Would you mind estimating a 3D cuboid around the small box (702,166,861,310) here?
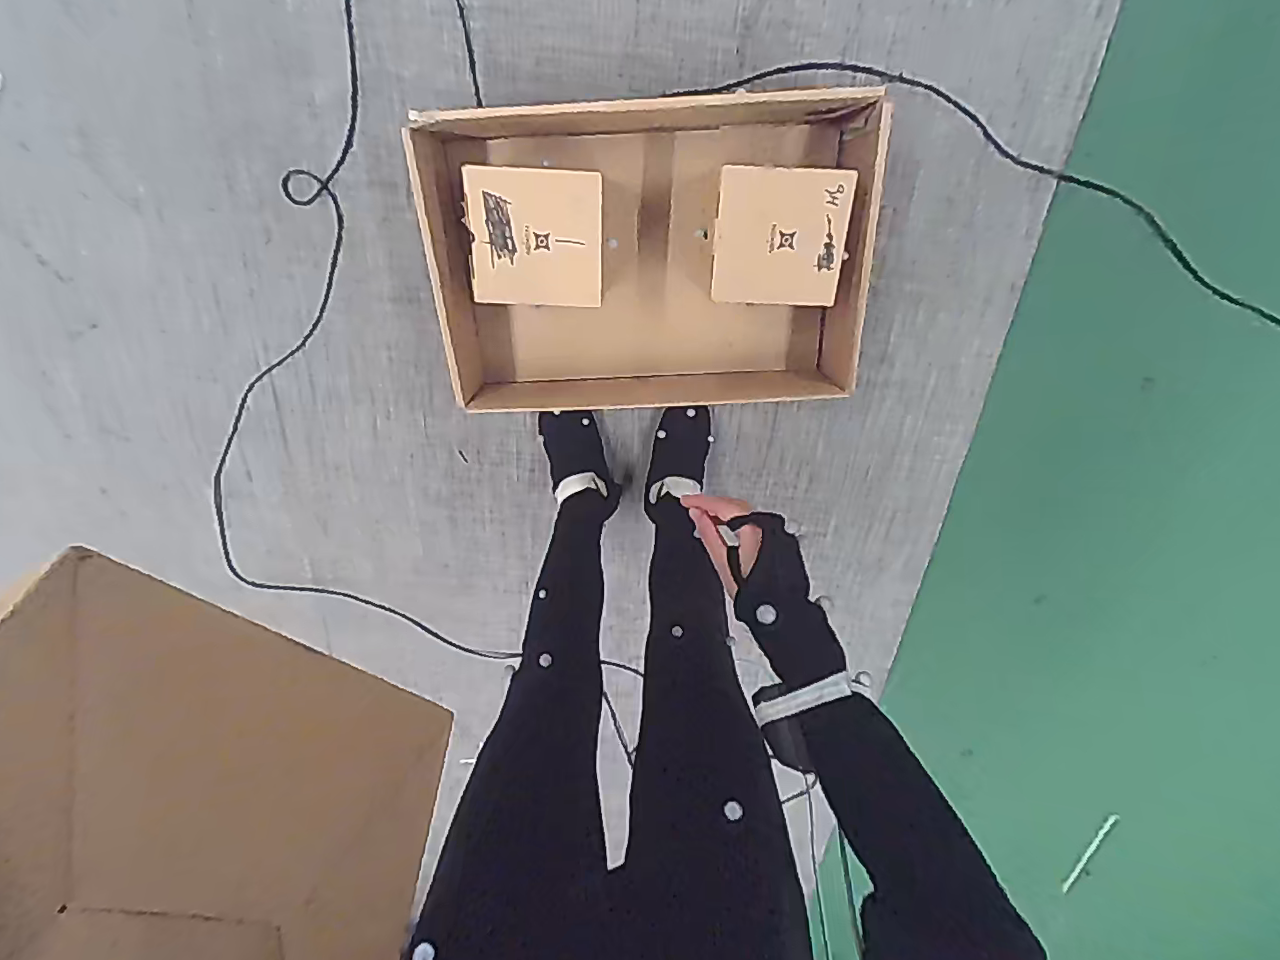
[{"bbox_3d":[0.187,-0.346,0.783,0.179,0.176,0.168,3,115,-1],"label":"small box"}]
